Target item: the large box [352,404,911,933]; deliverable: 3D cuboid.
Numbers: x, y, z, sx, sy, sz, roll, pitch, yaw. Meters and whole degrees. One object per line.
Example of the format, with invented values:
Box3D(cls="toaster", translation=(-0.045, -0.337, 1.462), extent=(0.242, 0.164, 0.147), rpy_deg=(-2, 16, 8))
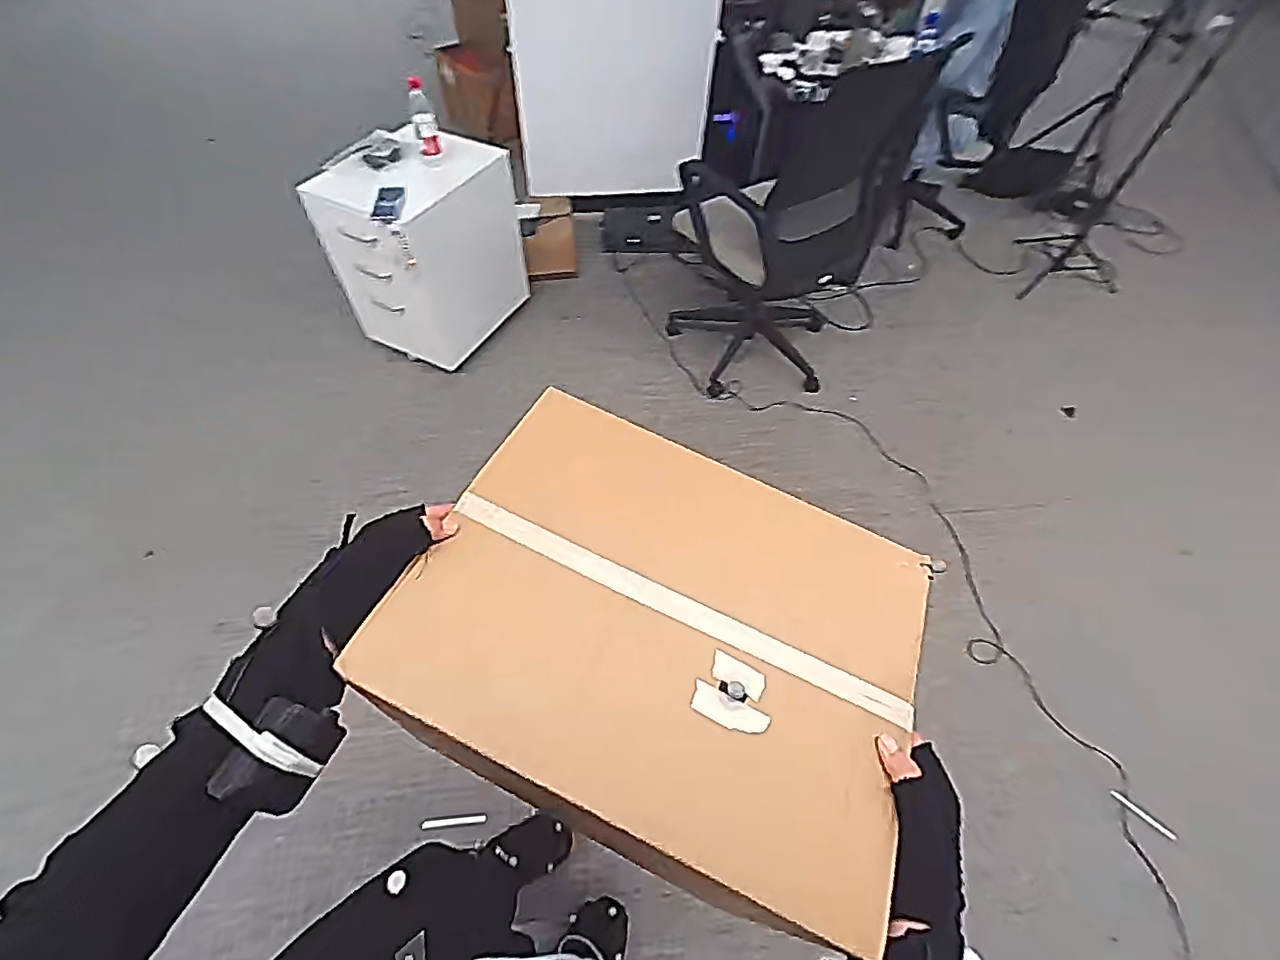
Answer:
Box3D(cls="large box", translation=(0.000, 0.190, 0.577), extent=(0.408, 0.320, 0.320), rpy_deg=(25, 57, 5))
